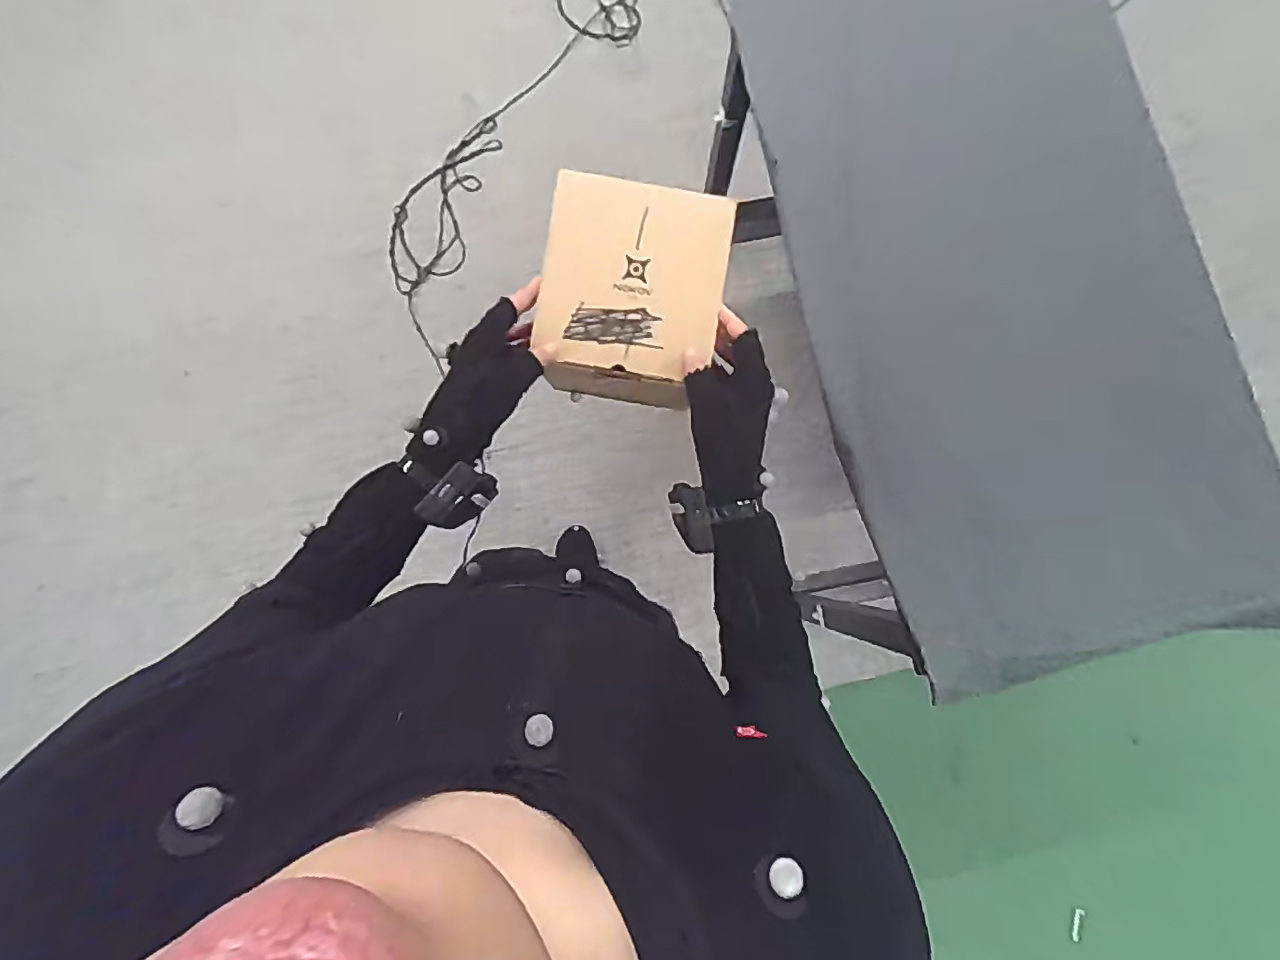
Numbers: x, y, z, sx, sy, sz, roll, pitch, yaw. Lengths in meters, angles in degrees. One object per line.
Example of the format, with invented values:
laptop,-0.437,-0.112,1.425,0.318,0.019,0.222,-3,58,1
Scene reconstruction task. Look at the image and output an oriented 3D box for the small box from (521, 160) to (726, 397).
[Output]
small box,-0.016,-0.190,0.565,0.168,0.176,0.179,8,90,-2
